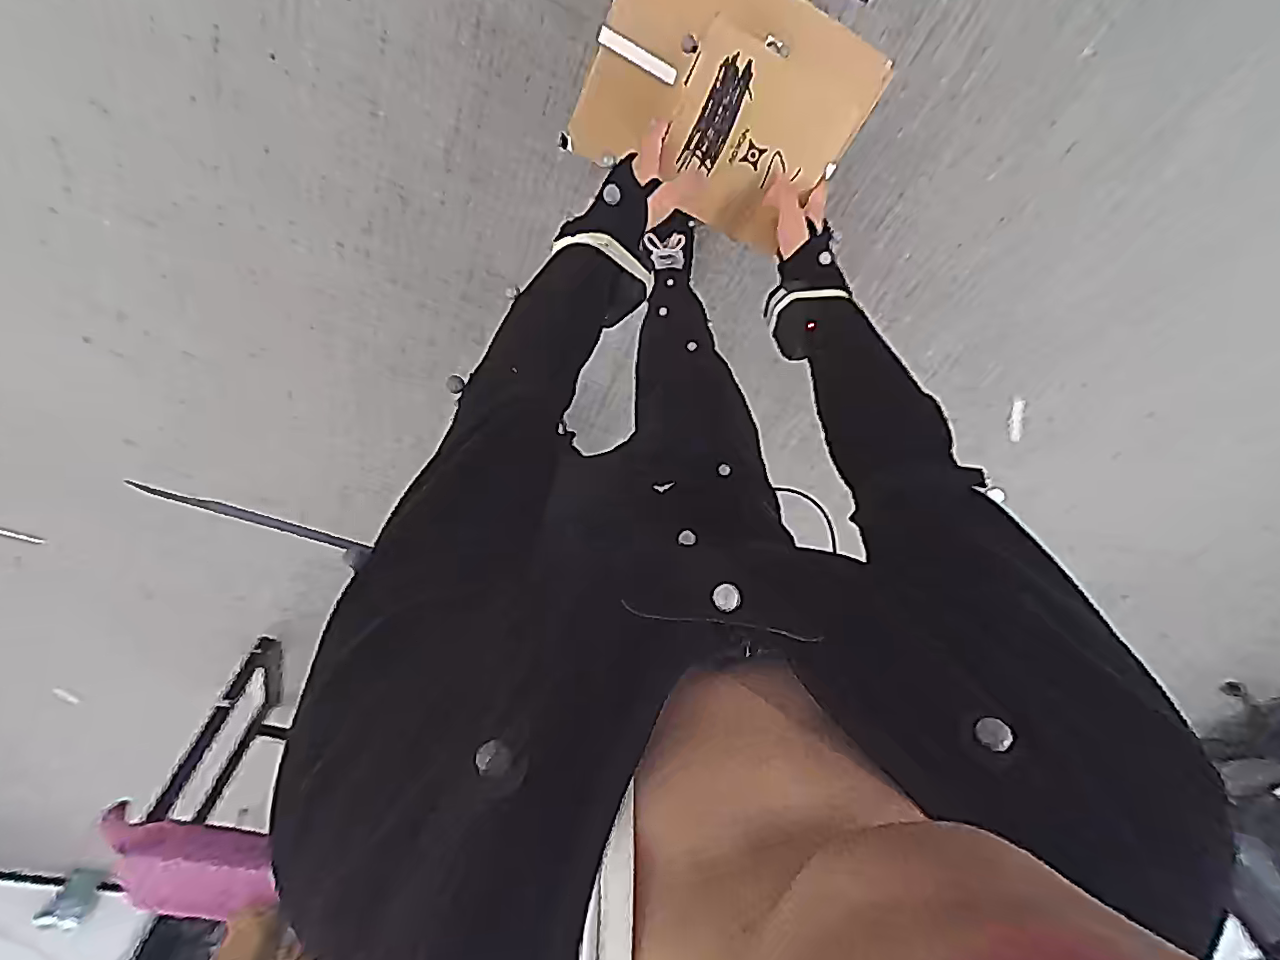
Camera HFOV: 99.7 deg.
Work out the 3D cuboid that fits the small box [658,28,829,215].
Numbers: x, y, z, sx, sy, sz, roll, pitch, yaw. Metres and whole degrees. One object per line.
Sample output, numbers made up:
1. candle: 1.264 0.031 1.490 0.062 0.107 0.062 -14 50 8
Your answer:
1. small box: 0.133 -0.508 0.773 0.179 0.176 0.168 15 127 -10
